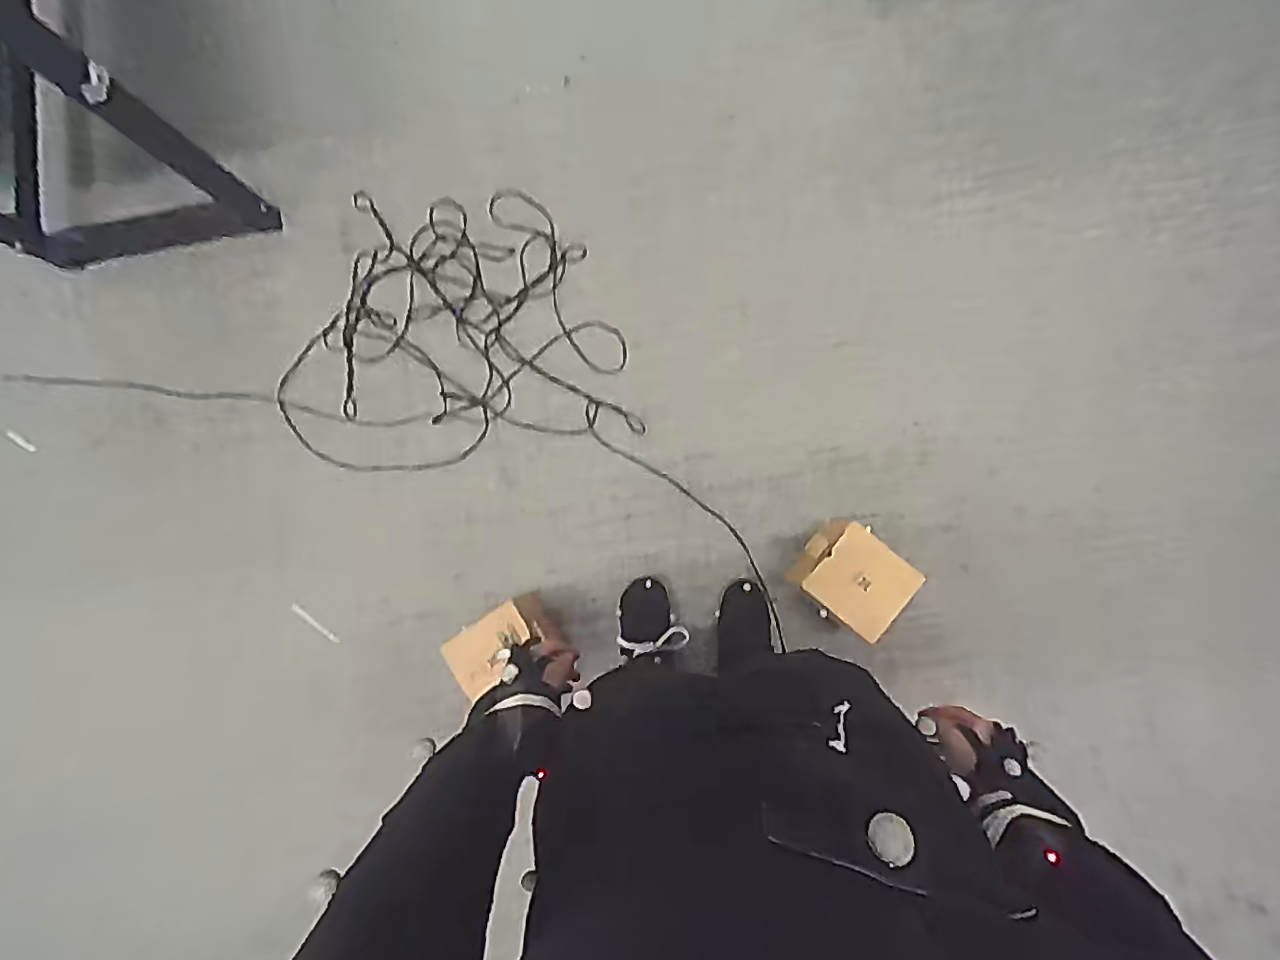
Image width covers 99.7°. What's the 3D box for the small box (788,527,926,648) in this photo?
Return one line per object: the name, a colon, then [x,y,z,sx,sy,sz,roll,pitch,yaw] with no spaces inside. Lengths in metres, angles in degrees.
small box: [0.434,0.209,1.112,0.179,0.176,0.168,41,88,6]
